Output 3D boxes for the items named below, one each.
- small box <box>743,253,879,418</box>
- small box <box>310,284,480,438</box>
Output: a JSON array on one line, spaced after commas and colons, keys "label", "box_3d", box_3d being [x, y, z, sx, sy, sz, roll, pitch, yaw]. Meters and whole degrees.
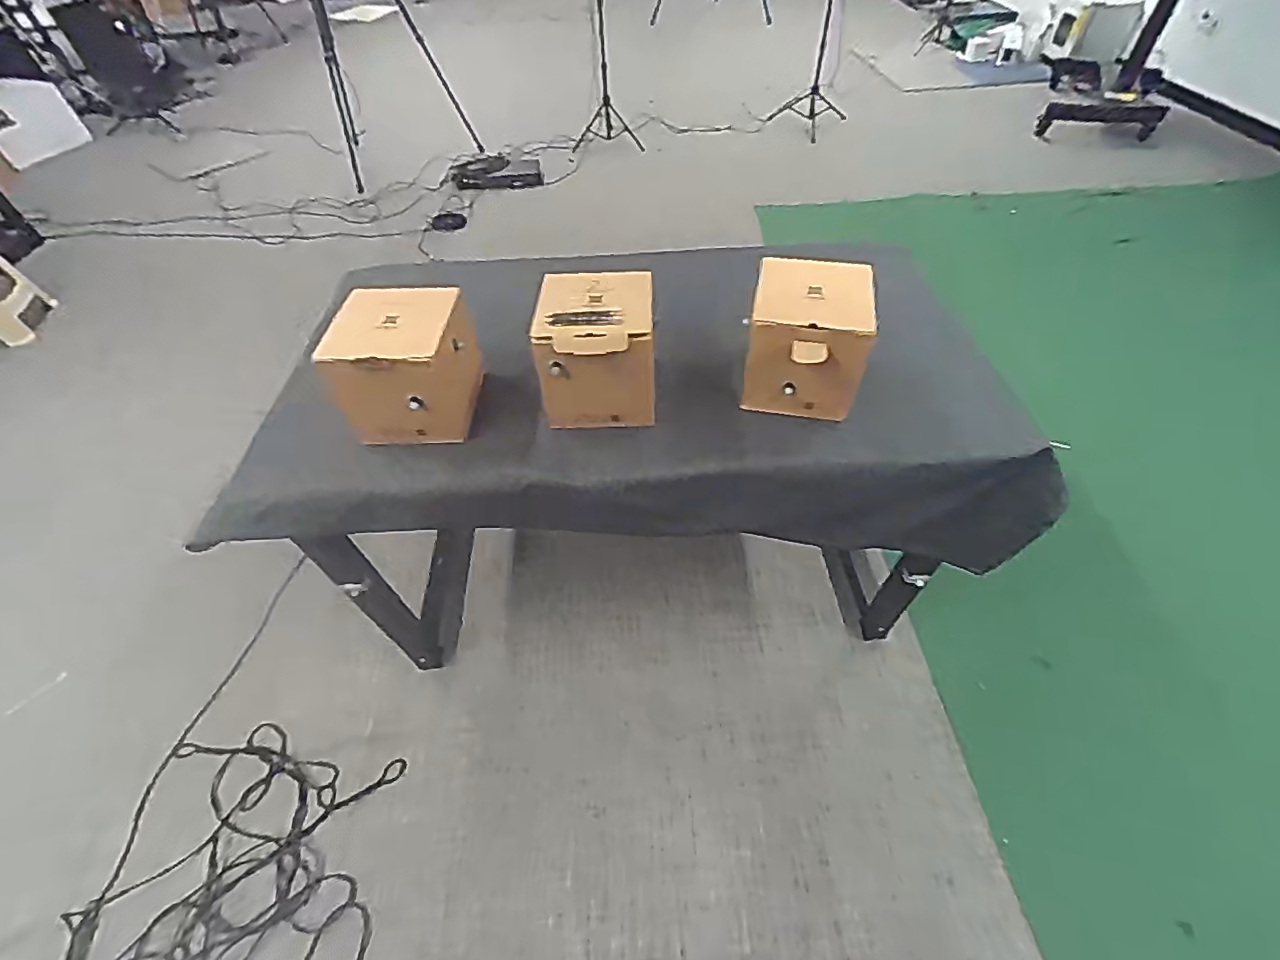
[{"label": "small box", "box_3d": [0.256, -0.223, 0.837, 0.168, 0.176, 0.179, 9, 52, 9]}, {"label": "small box", "box_3d": [-0.354, -0.177, 0.824, 0.168, 0.176, 0.179, 0, 49, 0]}]
